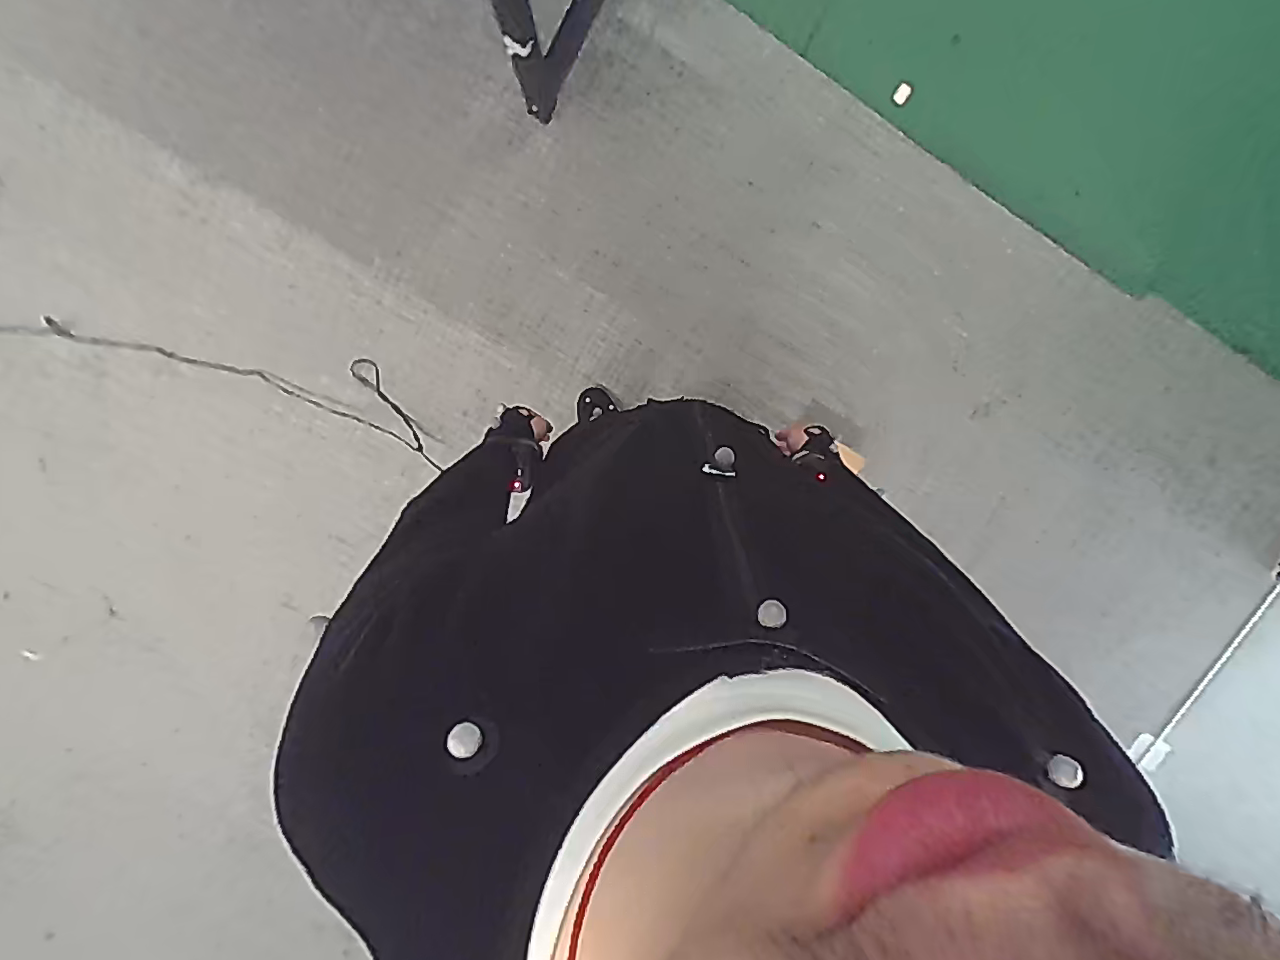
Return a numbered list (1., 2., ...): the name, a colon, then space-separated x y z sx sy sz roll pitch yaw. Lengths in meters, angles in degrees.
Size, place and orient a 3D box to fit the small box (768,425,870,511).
1. small box: 0.486 -0.041 1.497 0.179 0.176 0.168 32 96 -8
